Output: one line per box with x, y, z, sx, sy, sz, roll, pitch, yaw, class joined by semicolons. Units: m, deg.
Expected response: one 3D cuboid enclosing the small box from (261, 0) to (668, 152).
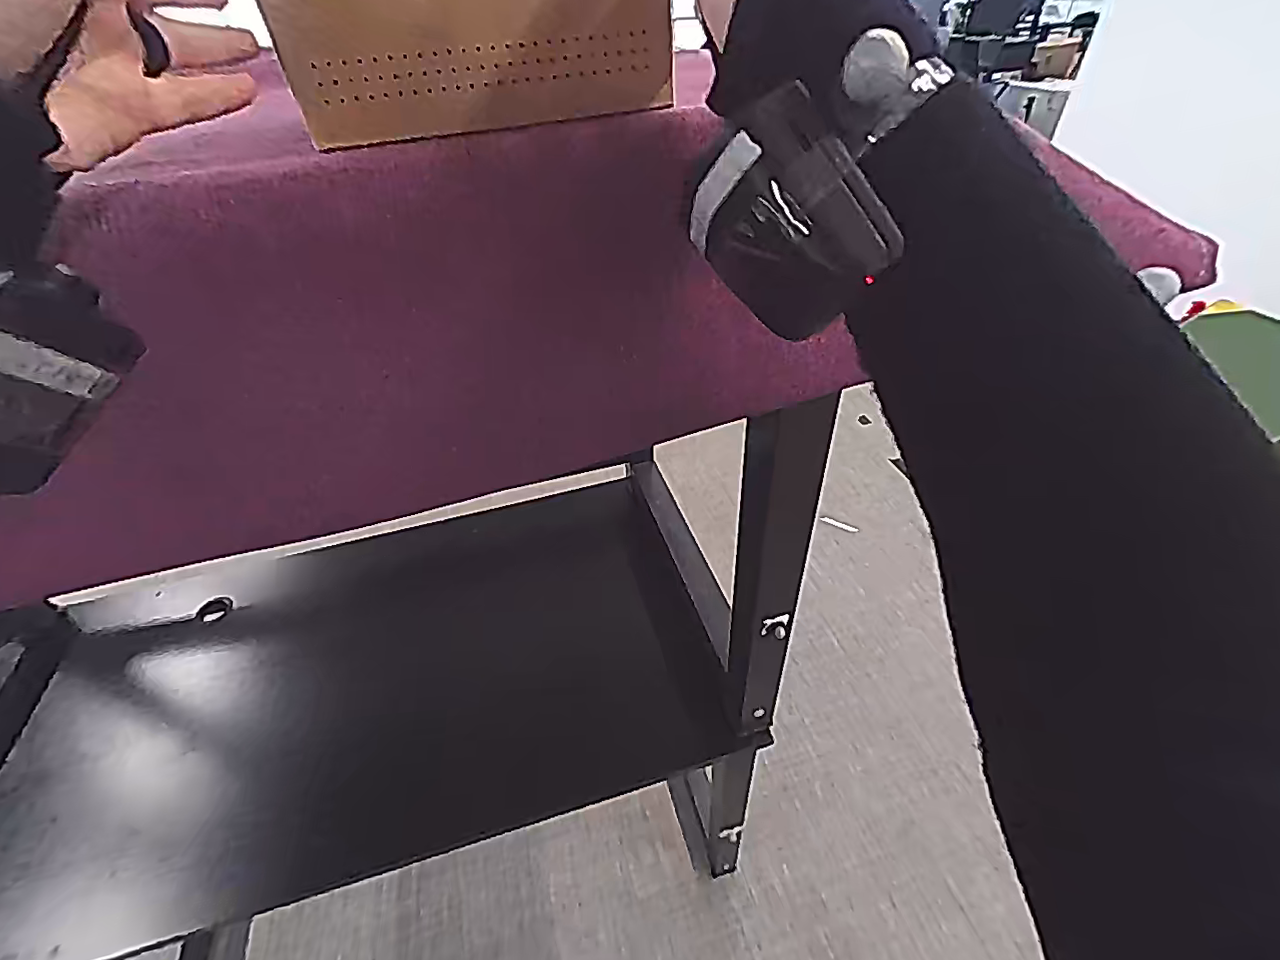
-0.087;-0.278;0.264;0.179;0.176;0.168;-12;41;-7;small box
